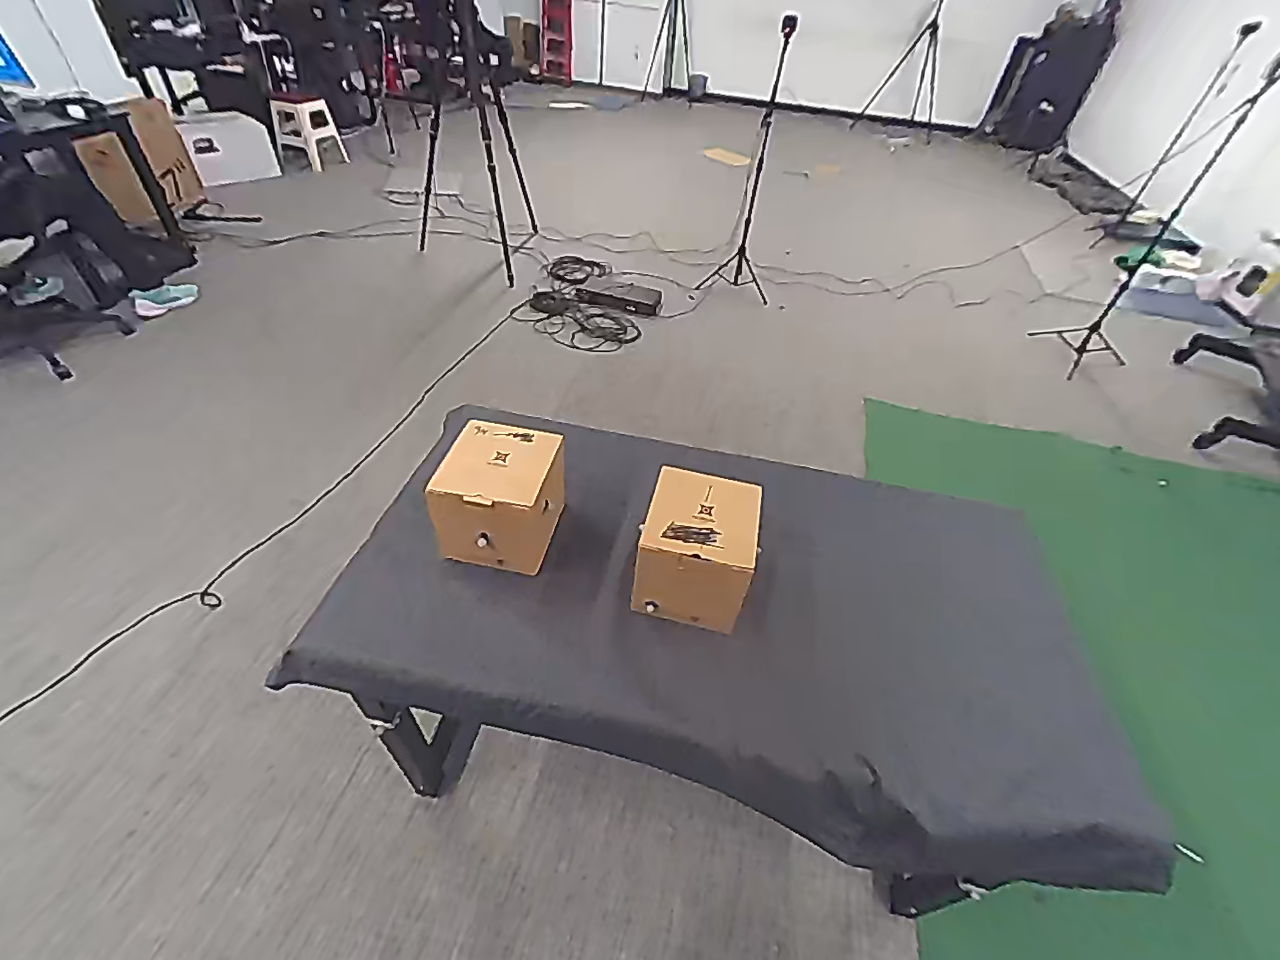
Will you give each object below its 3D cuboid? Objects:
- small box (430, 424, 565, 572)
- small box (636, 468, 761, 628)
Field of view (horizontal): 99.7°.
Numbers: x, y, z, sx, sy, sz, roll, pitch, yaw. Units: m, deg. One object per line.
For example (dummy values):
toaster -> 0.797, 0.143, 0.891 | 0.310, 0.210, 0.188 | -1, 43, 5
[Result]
small box -> -0.227, 0.033, 0.920 | 0.168, 0.176, 0.179 | 10, 45, 4
small box -> 0.092, 0.111, 0.870 | 0.168, 0.176, 0.179 | 12, 43, 7
